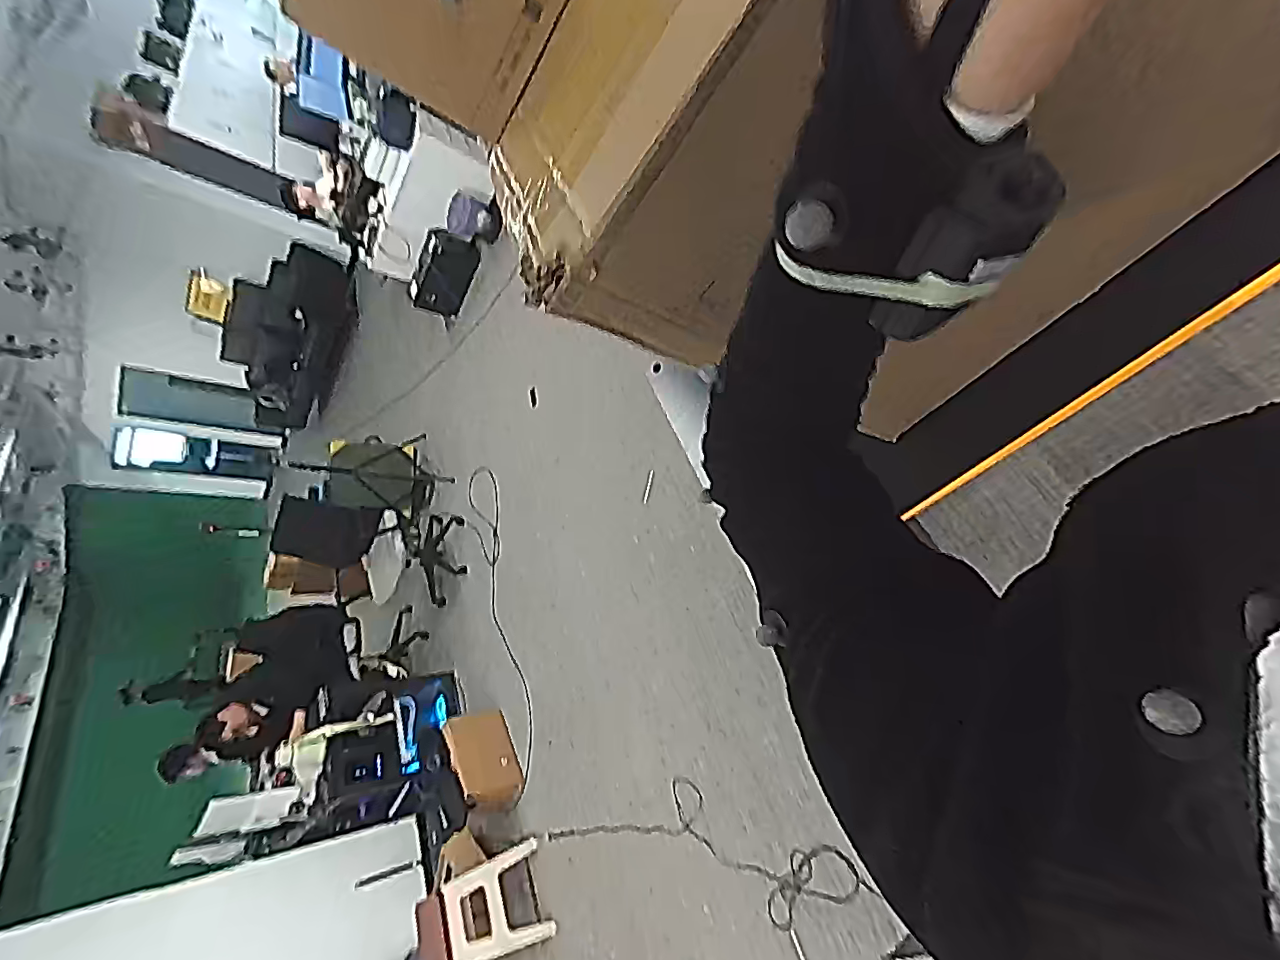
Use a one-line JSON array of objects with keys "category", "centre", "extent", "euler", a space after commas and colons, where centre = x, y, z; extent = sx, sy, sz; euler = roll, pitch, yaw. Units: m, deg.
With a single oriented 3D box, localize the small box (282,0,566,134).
[{"category": "small box", "centre": [-0.168, -0.420, 0.430], "extent": [0.168, 0.176, 0.179], "euler": [-45, 52, 33]}]
